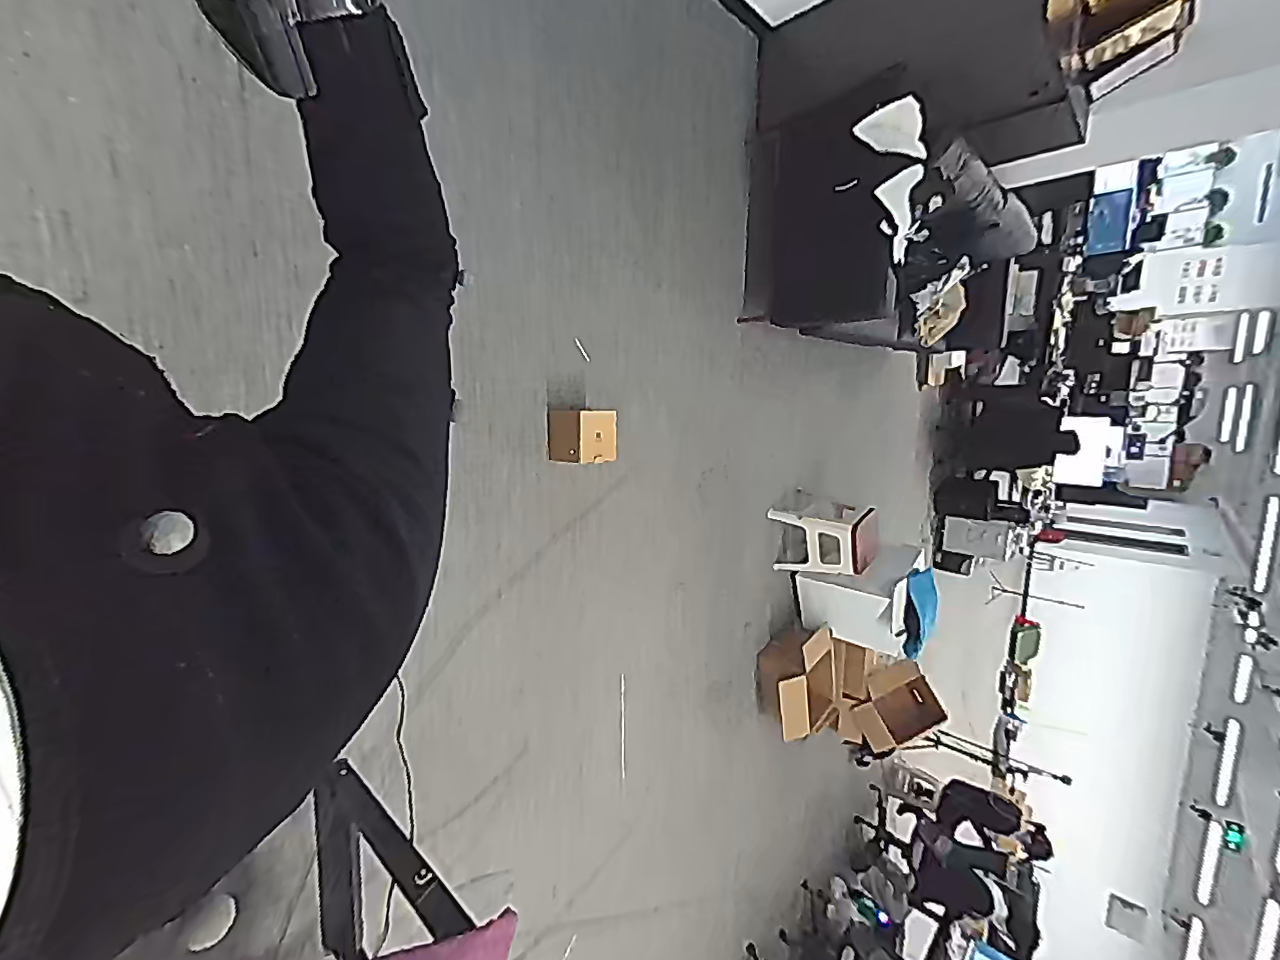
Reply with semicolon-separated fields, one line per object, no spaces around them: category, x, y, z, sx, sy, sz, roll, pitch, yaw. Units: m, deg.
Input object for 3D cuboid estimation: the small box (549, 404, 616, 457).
small box;-0.200;-0.175;1.869;0.168;0.176;0.179;-7;102;-46
